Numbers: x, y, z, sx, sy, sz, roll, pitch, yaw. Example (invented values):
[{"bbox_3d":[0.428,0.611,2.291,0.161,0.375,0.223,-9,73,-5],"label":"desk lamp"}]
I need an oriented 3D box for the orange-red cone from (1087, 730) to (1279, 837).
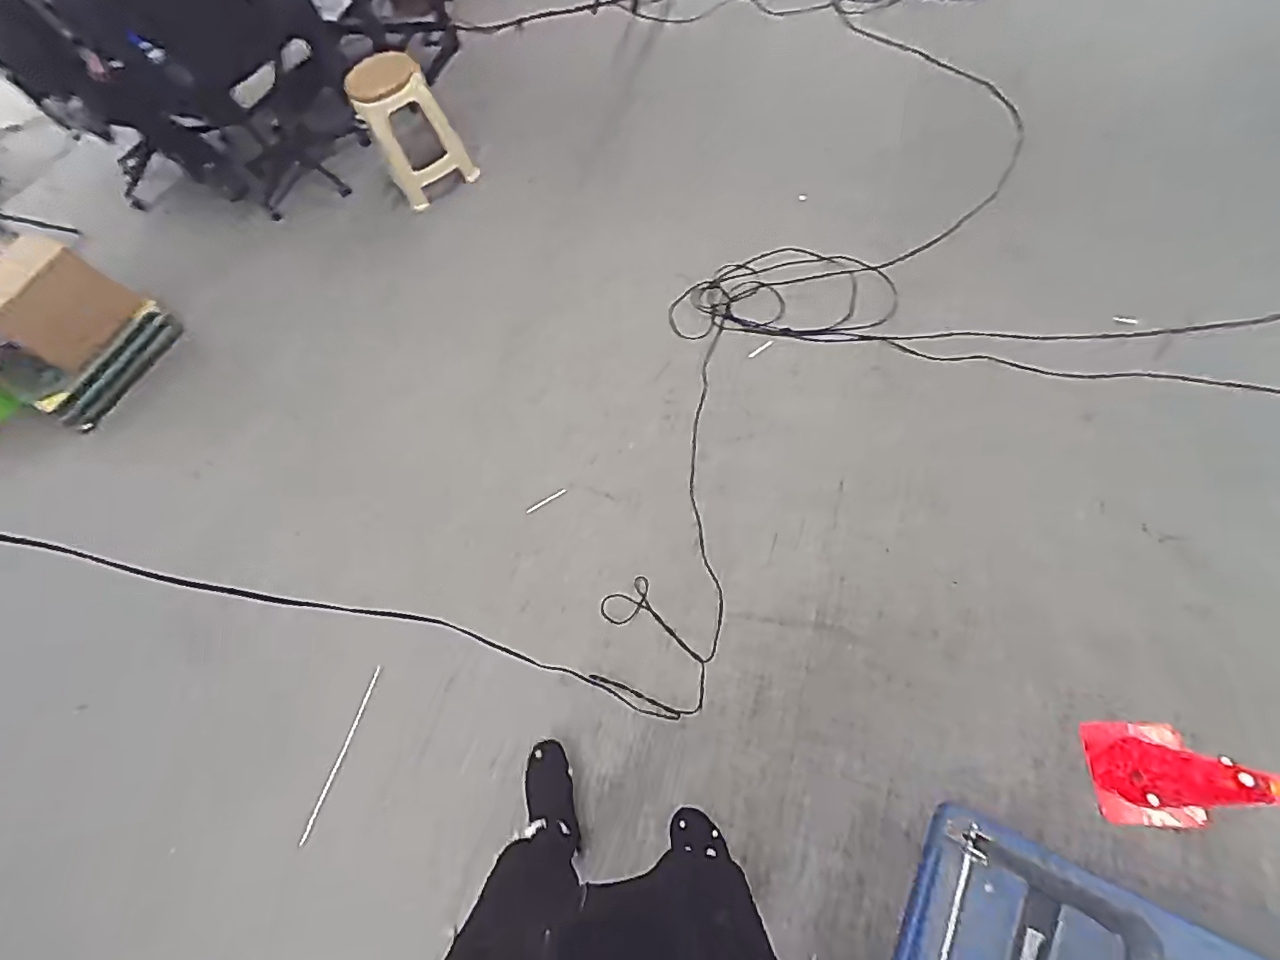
[{"bbox_3d":[1.083,0.587,1.035,0.198,0.360,0.199,-1,64,10],"label":"orange-red cone"}]
